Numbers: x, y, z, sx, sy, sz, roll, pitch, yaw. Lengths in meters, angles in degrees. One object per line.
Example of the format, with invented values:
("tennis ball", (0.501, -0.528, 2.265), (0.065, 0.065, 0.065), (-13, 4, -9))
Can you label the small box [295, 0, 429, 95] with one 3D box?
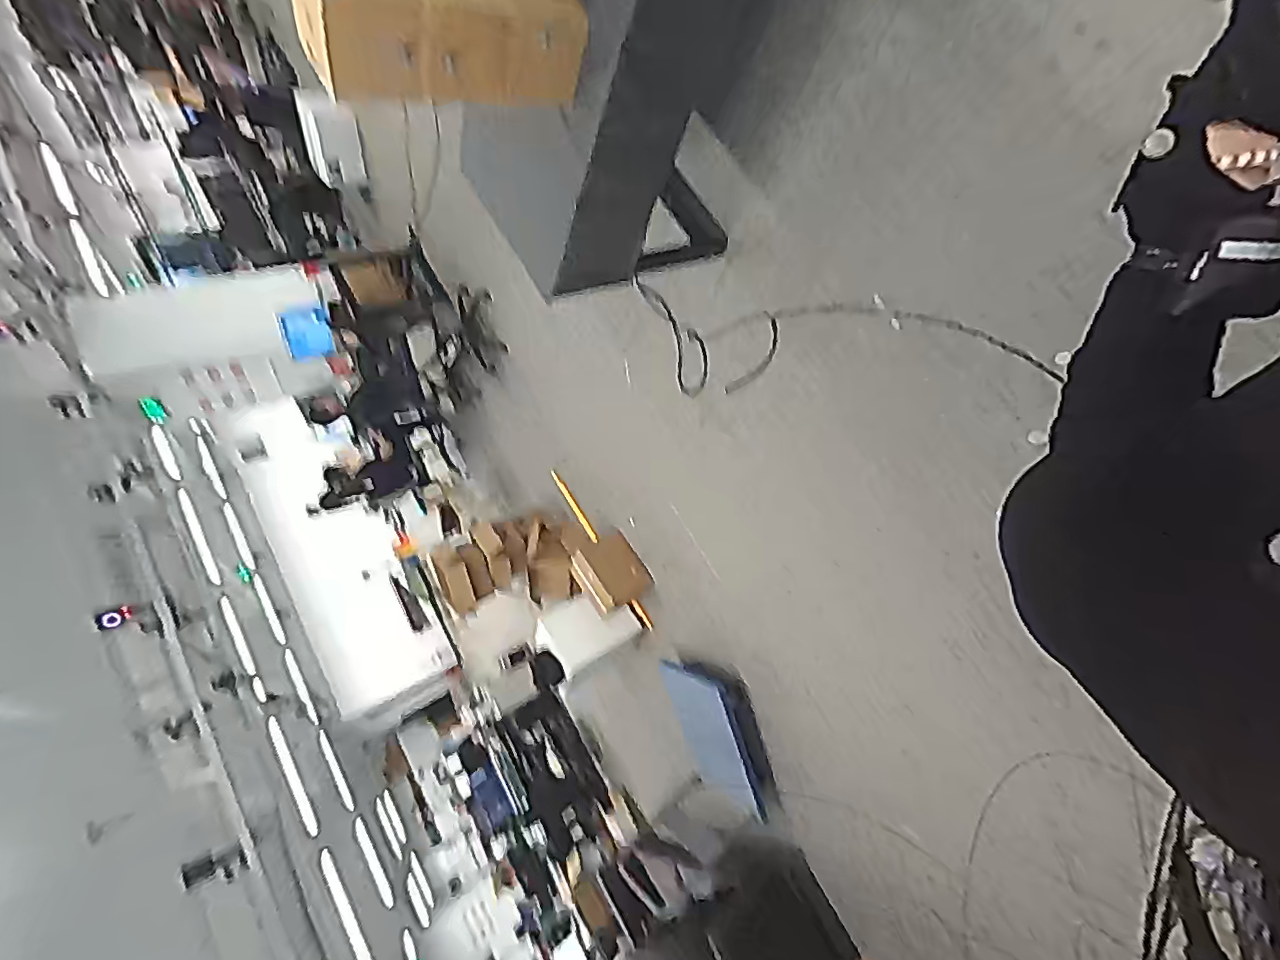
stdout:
("small box", (-0.488, -0.822, 0.953), (0.168, 0.176, 0.179), (59, 148, 12))

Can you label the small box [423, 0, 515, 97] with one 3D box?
("small box", (-0.355, -0.875, 1.034), (0.168, 0.176, 0.179), (58, 149, 13))
